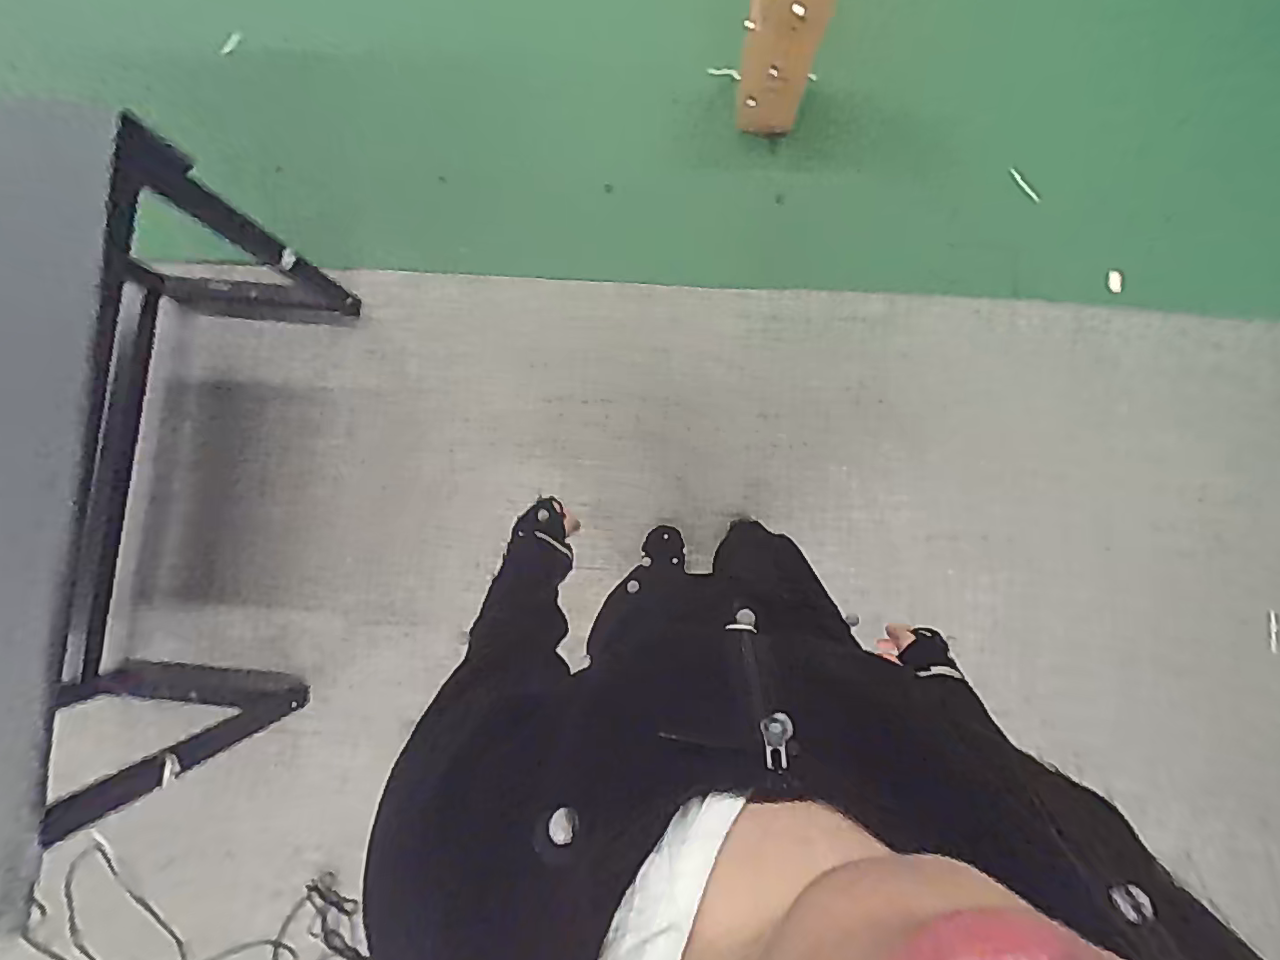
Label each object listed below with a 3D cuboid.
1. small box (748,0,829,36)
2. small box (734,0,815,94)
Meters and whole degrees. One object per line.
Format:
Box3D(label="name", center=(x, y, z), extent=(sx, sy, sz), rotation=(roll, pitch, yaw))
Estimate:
Box3D(label="small box", center=(0.336, -1.131, 1.182), extent=(0.168, 0.176, 0.179), rotation=(4, 85, 1))
Box3D(label="small box", center=(0.330, -1.112, 1.347), extent=(0.168, 0.176, 0.179), rotation=(3, 85, 0))
